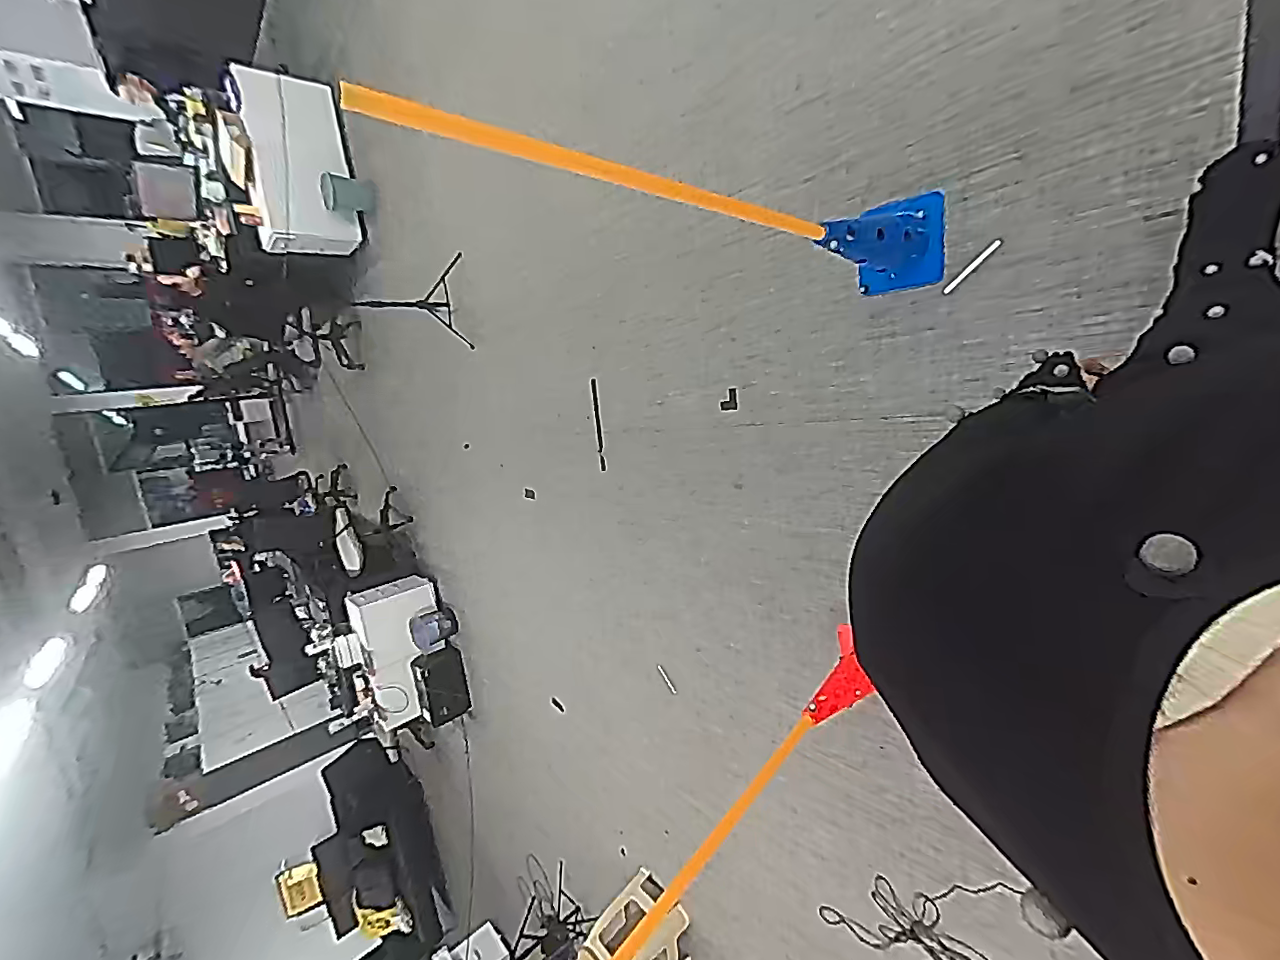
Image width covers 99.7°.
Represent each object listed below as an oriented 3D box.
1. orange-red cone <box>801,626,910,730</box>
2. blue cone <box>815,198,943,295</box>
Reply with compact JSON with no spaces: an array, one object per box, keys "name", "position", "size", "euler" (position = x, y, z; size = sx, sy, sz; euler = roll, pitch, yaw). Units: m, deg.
[{"name":"orange-red cone","position":[0.544,0.561,1.447],"size":[0.199,0.360,0.198],"euler":[-4,100,49]},{"name":"blue cone","position":[0.494,-0.516,1.178],"size":[0.193,0.380,0.192],"euler":[8,109,48]}]
